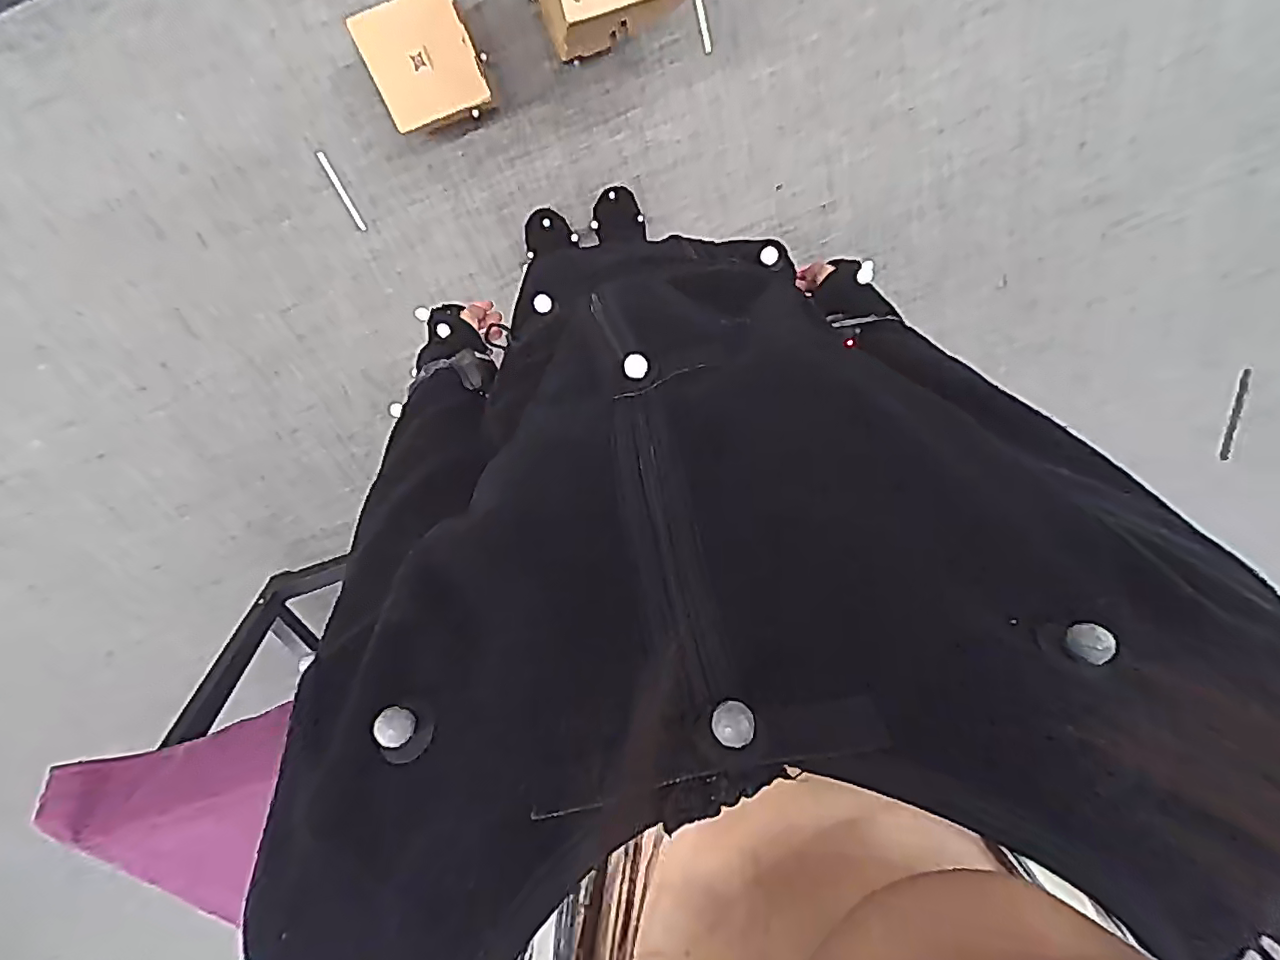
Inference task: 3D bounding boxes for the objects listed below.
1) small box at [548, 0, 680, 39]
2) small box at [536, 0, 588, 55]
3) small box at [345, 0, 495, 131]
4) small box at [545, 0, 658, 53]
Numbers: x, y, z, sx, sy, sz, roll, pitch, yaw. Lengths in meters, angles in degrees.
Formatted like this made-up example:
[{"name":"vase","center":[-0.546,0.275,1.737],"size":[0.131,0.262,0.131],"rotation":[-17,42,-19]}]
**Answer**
[{"name":"small box","center":[-0.037,-0.679,0.669],"size":[0.179,0.176,0.168],"rotation":[-17,123,-1]},{"name":"small box","center":[-0.099,-0.867,0.932],"size":[0.168,0.176,0.179],"rotation":[-22,122,3]},{"name":"small box","center":[-0.375,-0.742,0.961],"size":[0.179,0.176,0.168],"rotation":[-21,123,3]},{"name":"small box","center":[-0.064,-0.768,0.804],"size":[0.179,0.176,0.168],"rotation":[-20,124,1]}]
